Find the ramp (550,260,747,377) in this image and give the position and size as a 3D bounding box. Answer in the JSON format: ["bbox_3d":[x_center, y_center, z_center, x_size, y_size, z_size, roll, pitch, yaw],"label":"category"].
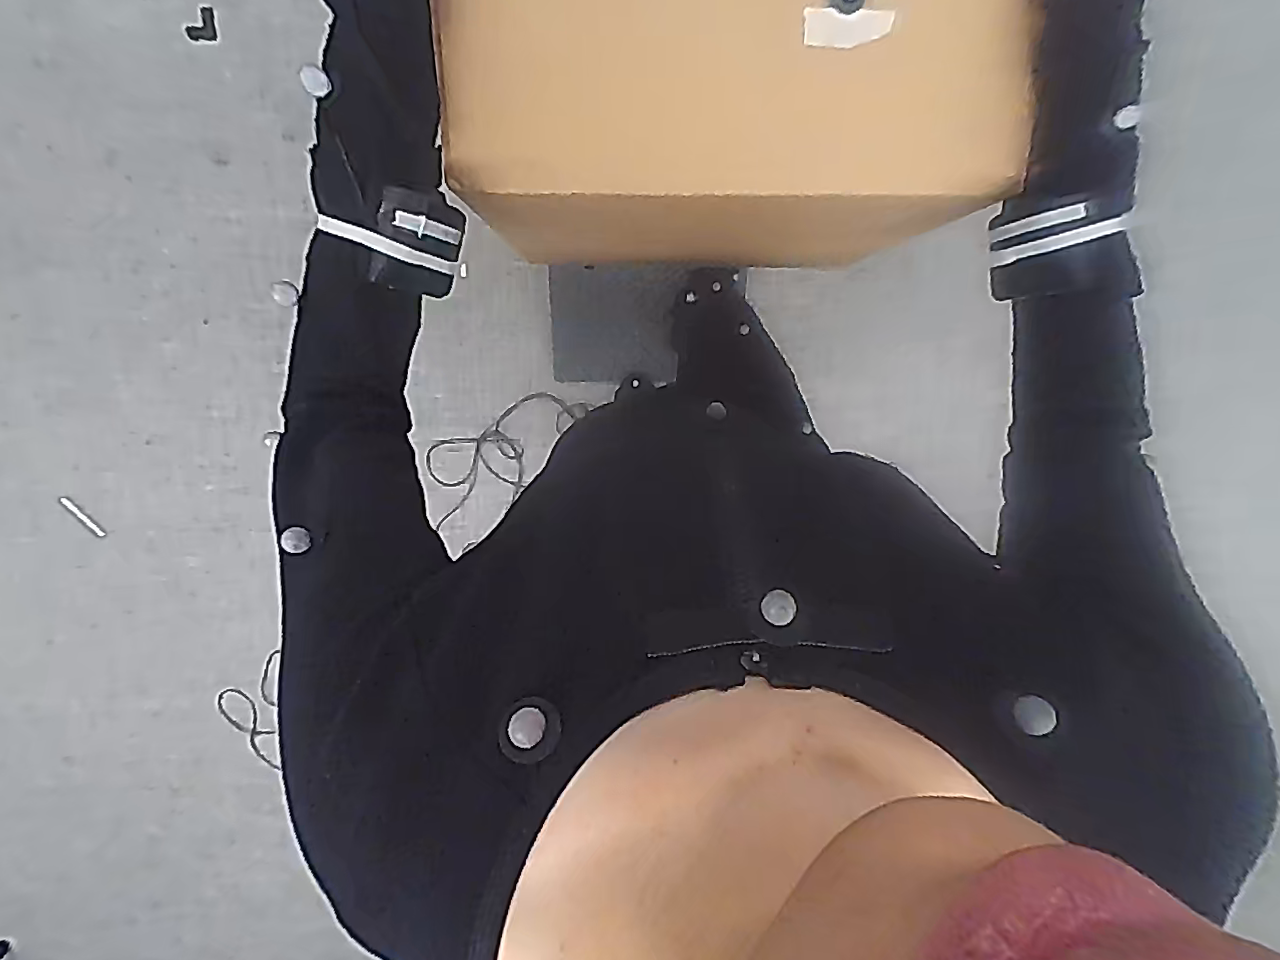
[{"bbox_3d":[0.023,-0.740,1.255,0.509,0.206,0.991,-3,102,-2],"label":"ramp"}]

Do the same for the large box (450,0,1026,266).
[{"bbox_3d":[0.062,-0.394,0.507,0.408,0.320,0.320,-1,103,-2],"label":"large box"}]
